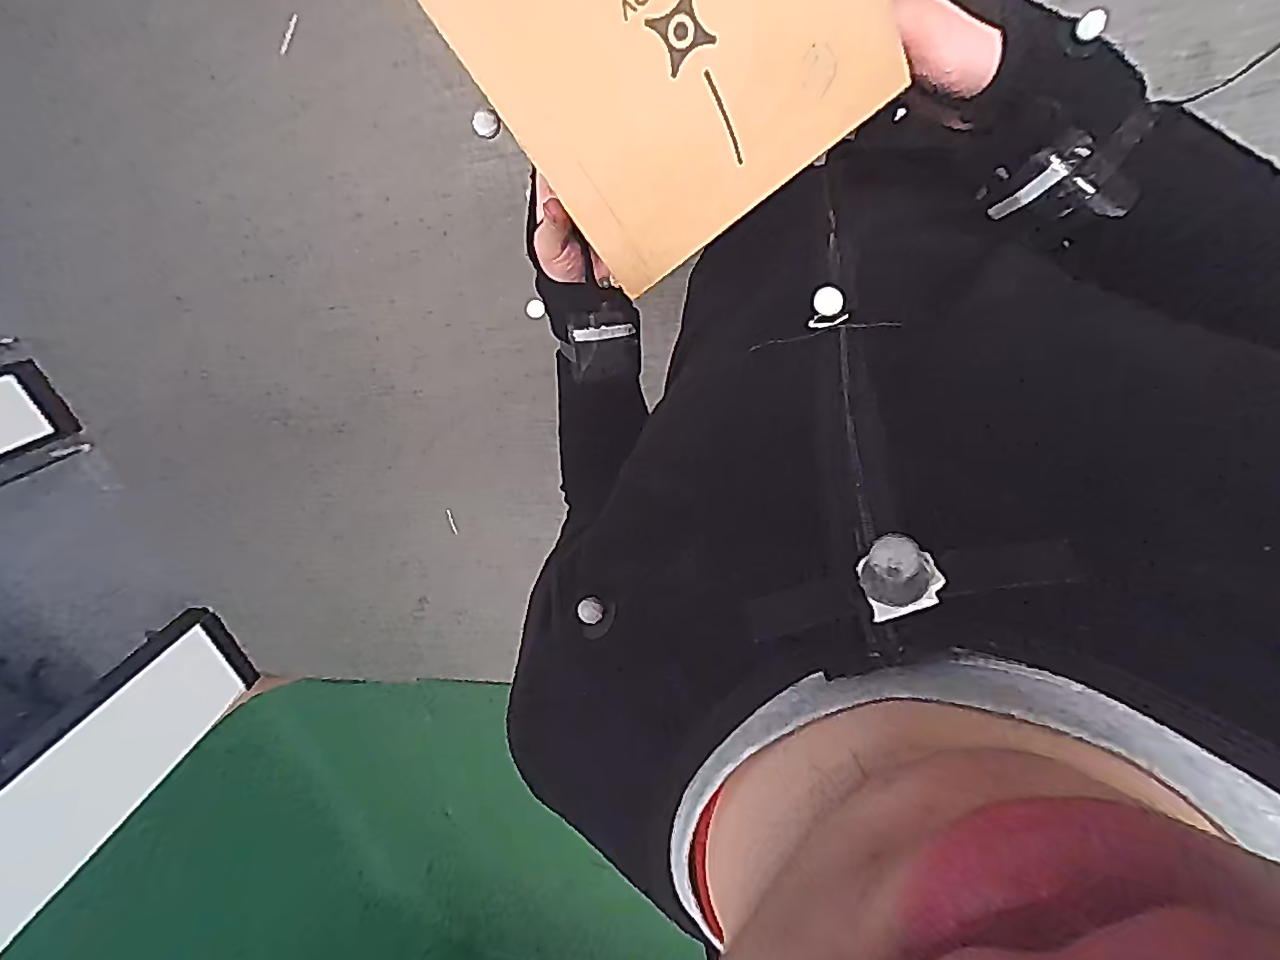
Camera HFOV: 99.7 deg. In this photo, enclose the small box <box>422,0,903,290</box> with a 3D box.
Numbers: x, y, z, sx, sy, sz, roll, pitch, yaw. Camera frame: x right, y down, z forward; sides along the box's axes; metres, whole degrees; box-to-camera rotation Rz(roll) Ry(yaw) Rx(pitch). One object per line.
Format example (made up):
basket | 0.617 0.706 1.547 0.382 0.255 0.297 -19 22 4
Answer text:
small box | -0.004 -0.239 0.289 0.168 0.176 0.179 -35 125 10
